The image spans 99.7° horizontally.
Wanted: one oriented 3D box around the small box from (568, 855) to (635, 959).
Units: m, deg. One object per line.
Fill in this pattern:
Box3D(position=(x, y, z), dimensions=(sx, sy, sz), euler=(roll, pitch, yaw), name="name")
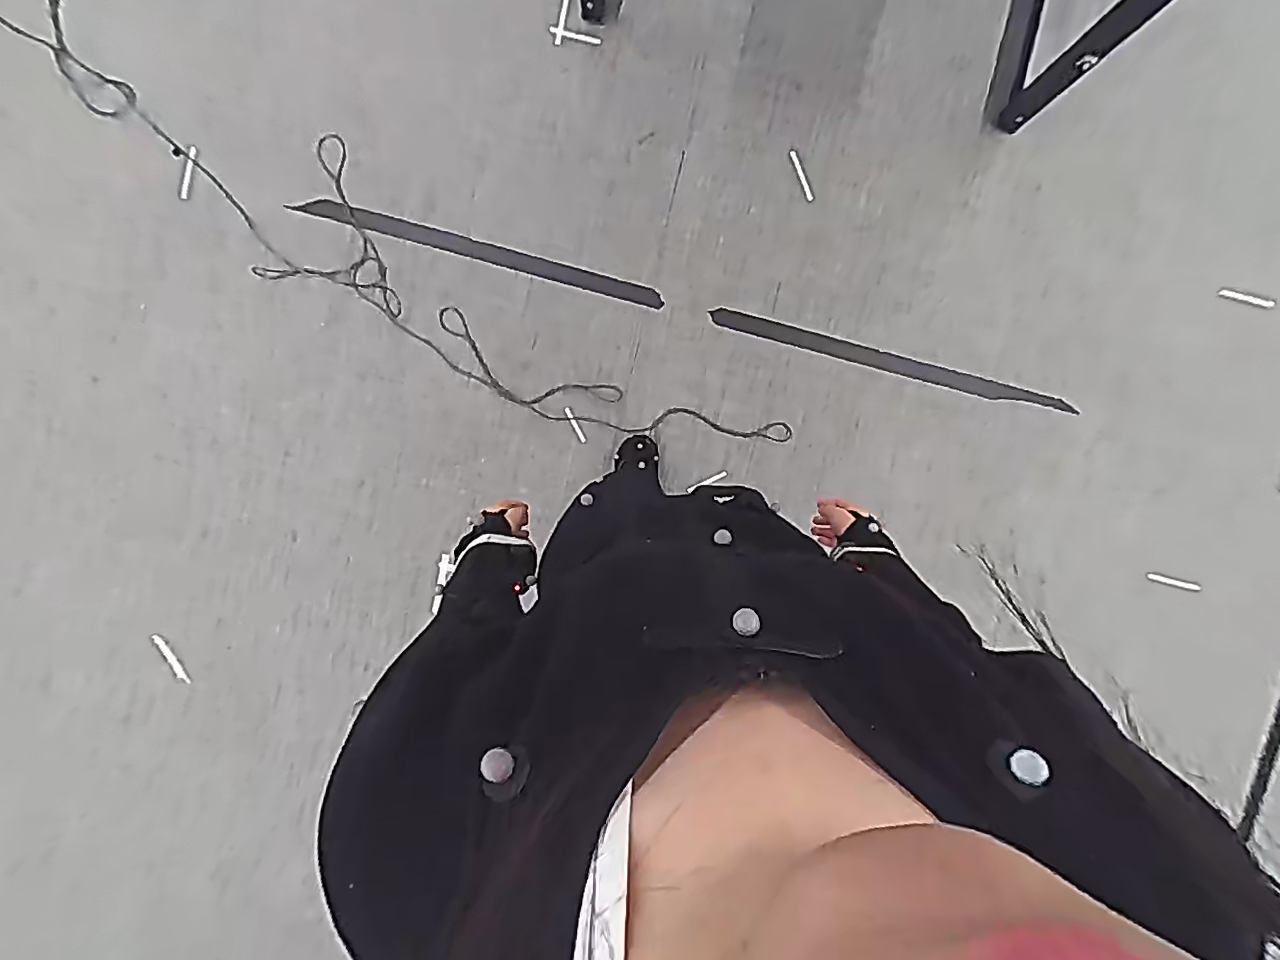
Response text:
Box3D(position=(-0.101, 1.177, 1.479), dimensions=(0.168, 0.176, 0.179), euler=(4, 94, -2), name="small box")
